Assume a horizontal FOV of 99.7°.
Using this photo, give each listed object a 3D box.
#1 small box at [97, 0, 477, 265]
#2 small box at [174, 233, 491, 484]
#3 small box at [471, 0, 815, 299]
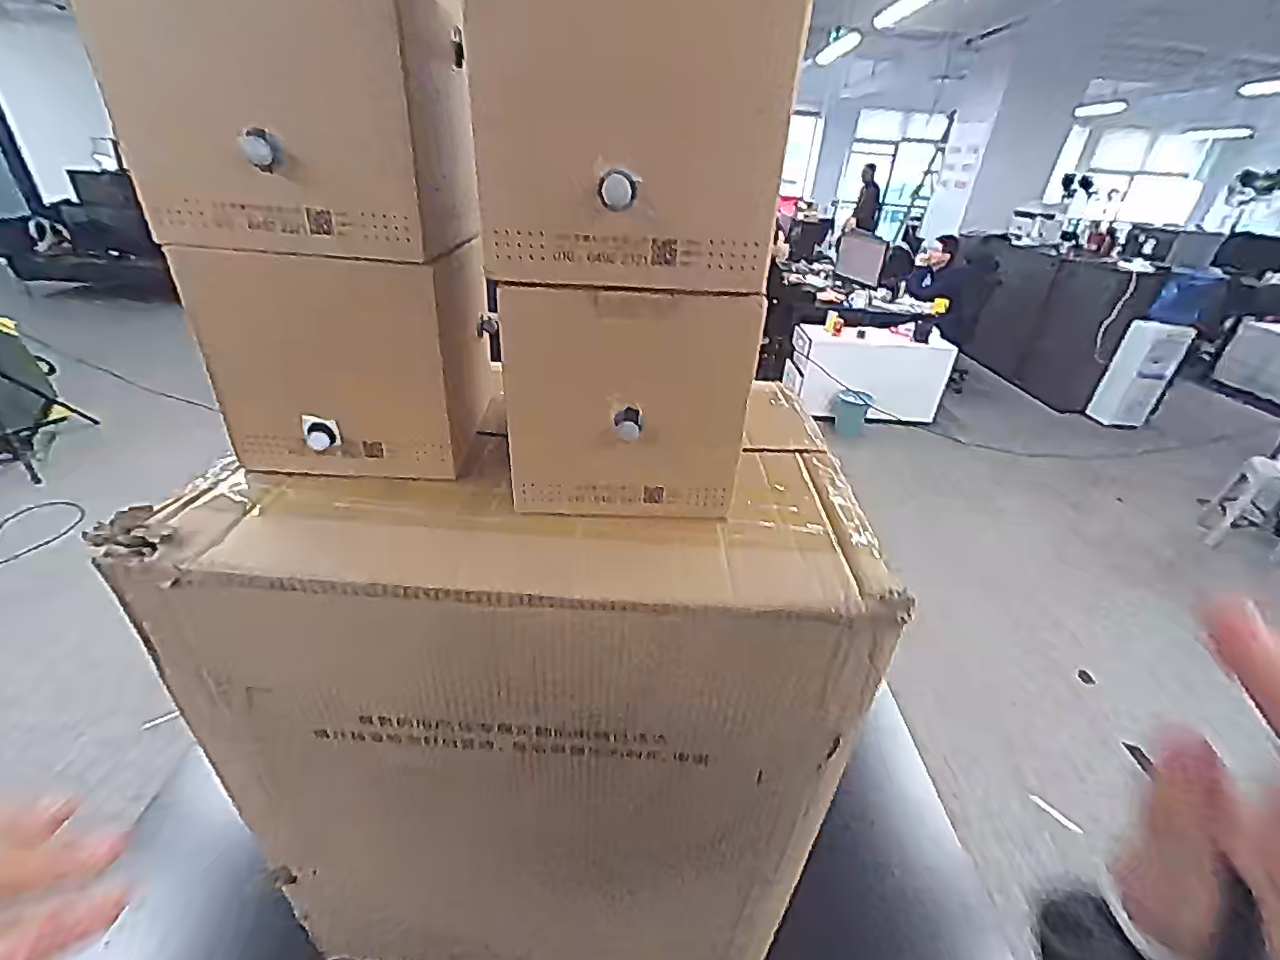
[{"bbox_3d":[-0.213,-0.254,0.370,0.168,0.176,0.179,2,31,-4],"label":"small box"},{"bbox_3d":[-0.224,-0.113,0.455,0.168,0.176,0.179,1,32,-6],"label":"small box"},{"bbox_3d":[-0.004,-0.224,0.344,0.168,0.176,0.179,2,31,-1],"label":"small box"}]
